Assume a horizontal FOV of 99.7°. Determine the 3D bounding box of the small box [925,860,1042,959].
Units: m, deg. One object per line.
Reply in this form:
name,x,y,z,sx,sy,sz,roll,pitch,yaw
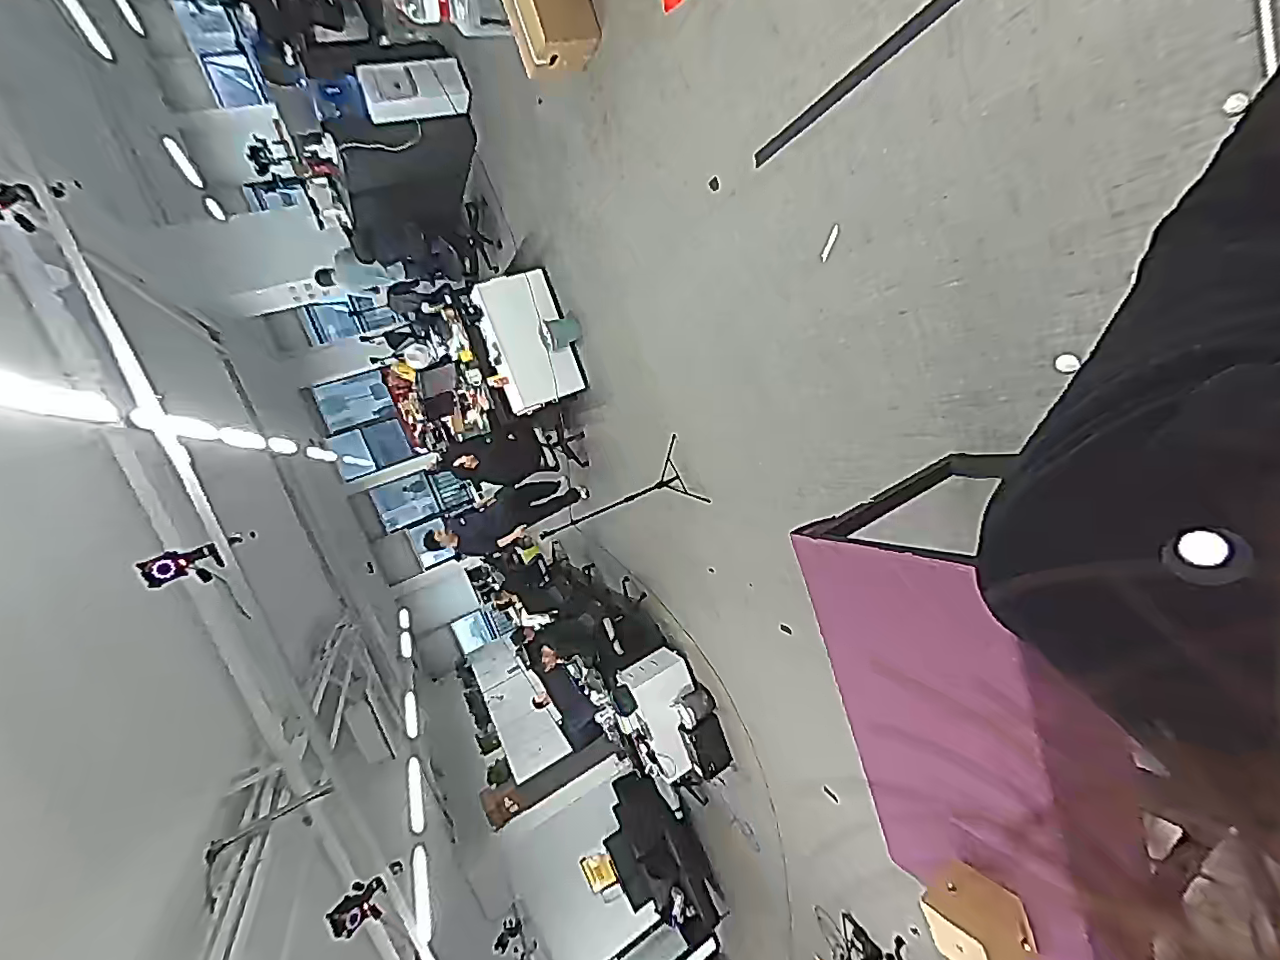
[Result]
small box,0.889,1.140,1.403,0.179,0.176,0.168,-5,108,67
